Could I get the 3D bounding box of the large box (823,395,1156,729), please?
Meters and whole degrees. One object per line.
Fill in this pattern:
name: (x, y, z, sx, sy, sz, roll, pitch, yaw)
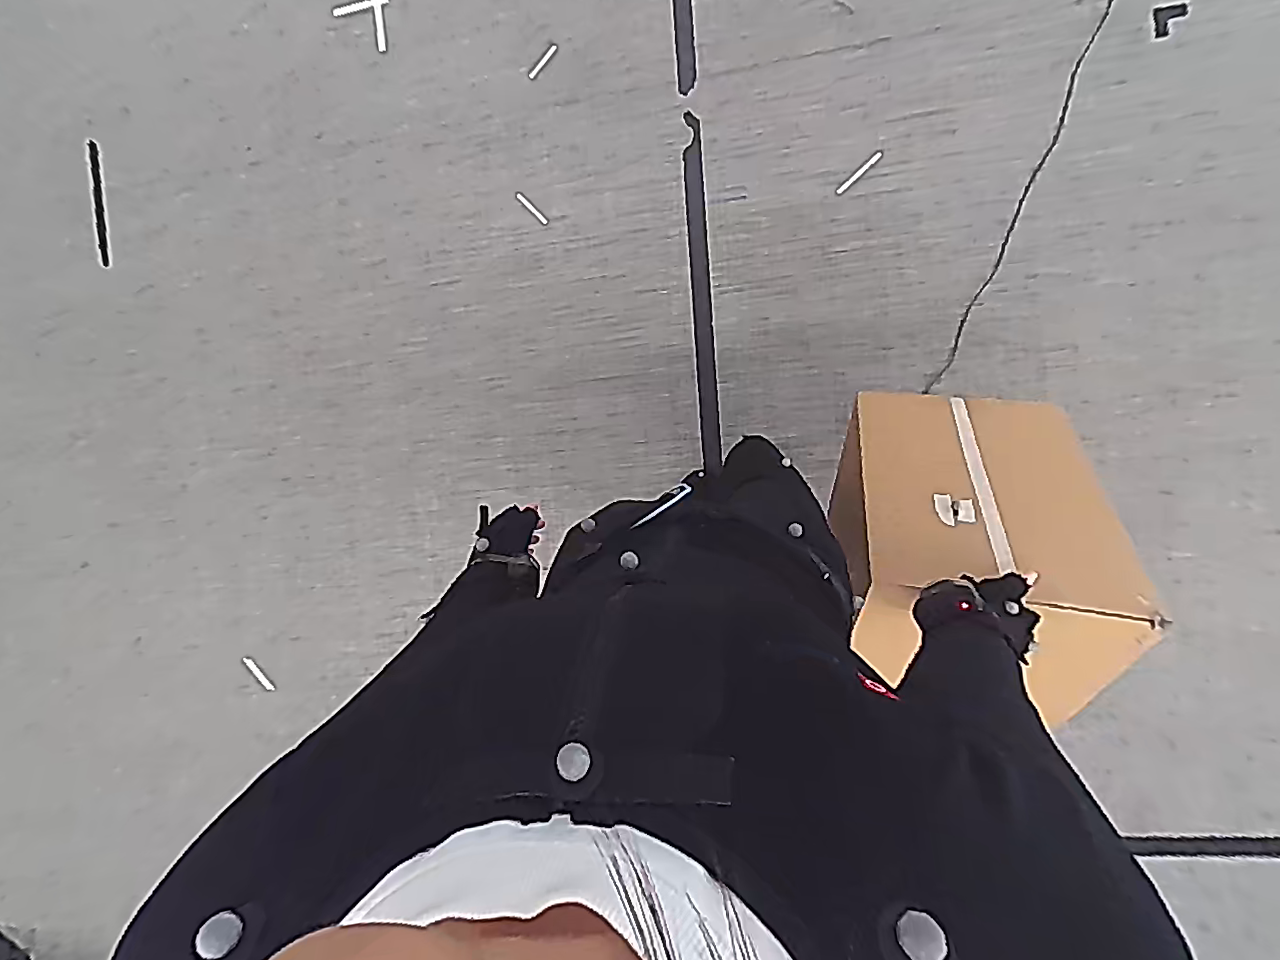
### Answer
large box: (0.479, 0.114, 0.865, 0.320, 0.408, 0.320, 6, 136, 14)
